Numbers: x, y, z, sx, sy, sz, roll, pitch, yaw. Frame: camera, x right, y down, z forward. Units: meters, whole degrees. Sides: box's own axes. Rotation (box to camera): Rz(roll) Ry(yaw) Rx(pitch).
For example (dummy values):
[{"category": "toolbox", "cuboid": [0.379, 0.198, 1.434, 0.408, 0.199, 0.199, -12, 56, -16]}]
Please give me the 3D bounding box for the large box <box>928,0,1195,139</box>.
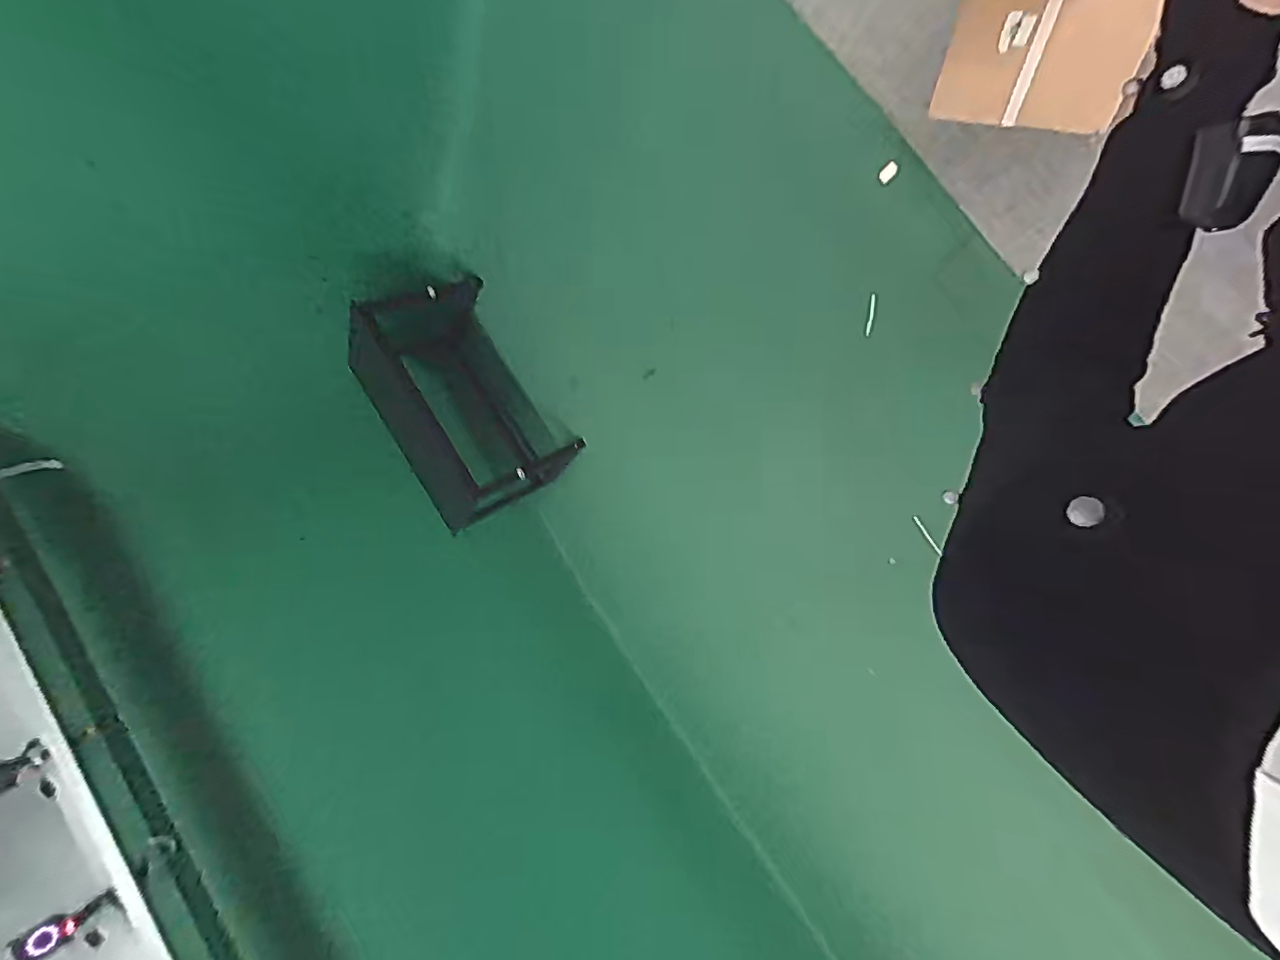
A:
[{"category": "large box", "cuboid": [0.799, -0.876, 0.976, 0.320, 0.320, 0.408, 34, 137, 33]}]
